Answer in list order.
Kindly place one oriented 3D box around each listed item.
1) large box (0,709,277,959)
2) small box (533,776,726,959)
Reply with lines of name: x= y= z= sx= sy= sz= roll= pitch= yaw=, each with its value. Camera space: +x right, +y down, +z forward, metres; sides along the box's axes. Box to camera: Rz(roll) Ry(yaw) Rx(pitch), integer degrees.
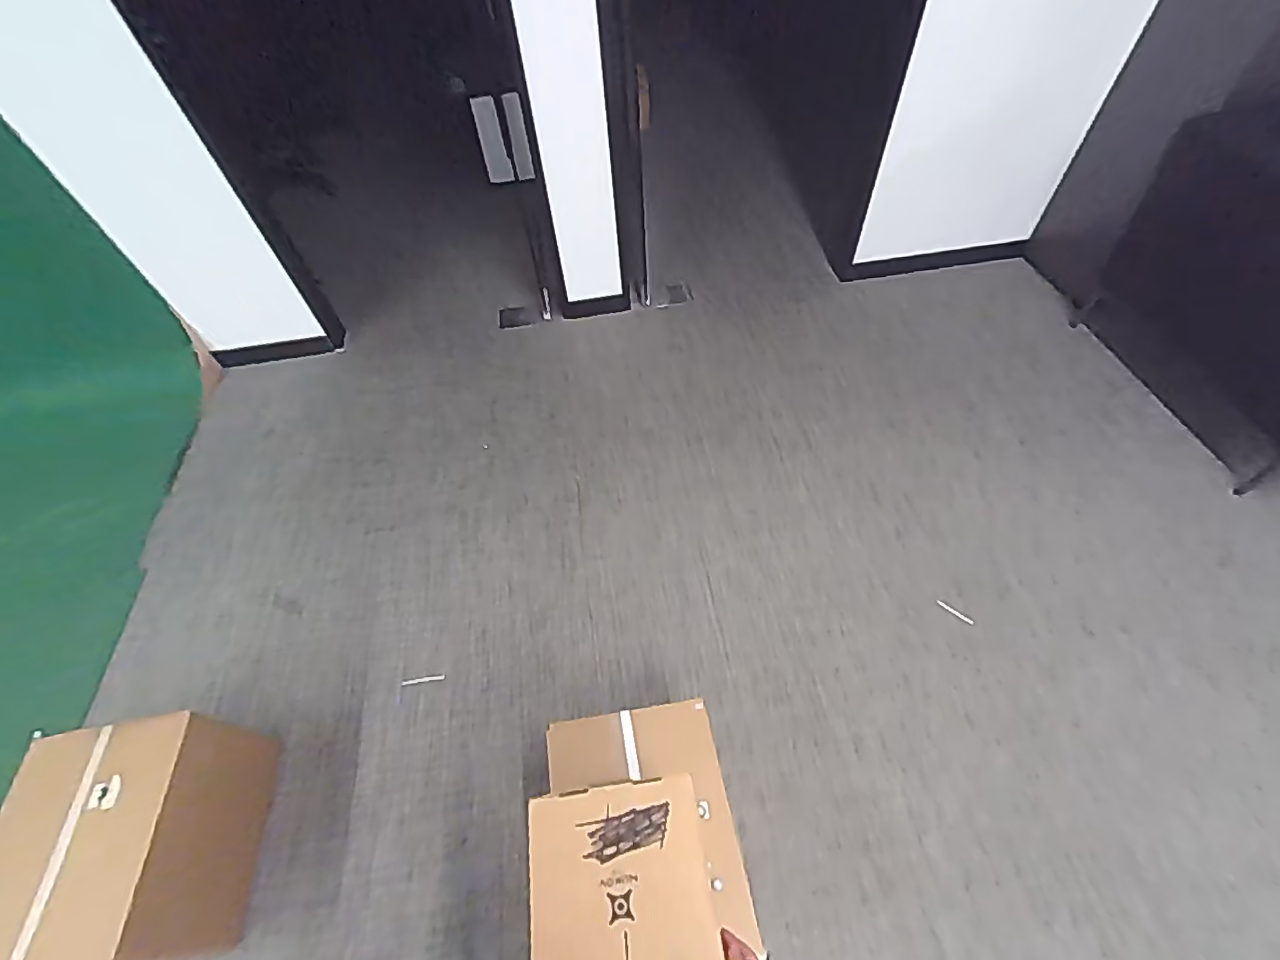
large box: x=-1.015 y=0.735 z=1.090 sx=0.320 sy=0.320 sz=0.408 roll=-10 pitch=53 yaw=-3
small box: x=-0.012 y=0.421 z=0.551 sx=0.168 sy=0.176 sz=0.179 roll=-8 pitch=56 yaw=-2
